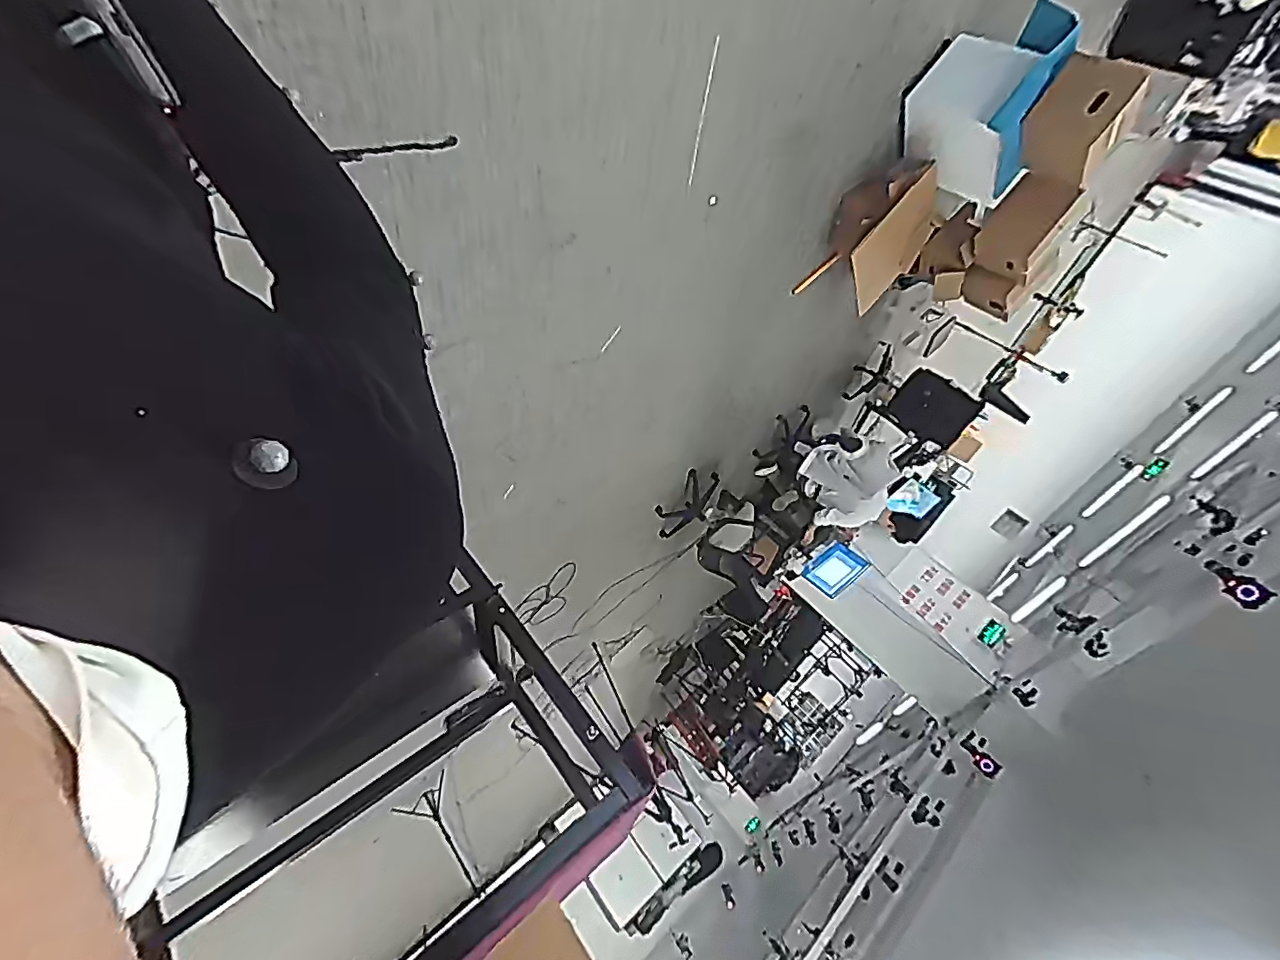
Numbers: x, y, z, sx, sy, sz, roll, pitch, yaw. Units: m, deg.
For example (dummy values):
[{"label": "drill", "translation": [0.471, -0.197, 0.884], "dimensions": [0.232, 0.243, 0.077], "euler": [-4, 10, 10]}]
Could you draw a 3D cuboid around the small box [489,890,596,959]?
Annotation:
[{"label": "small box", "translation": [-0.222, 1.088, 1.240], "dimensions": [0.179, 0.176, 0.168], "euler": [-30, 149, -28]}]
